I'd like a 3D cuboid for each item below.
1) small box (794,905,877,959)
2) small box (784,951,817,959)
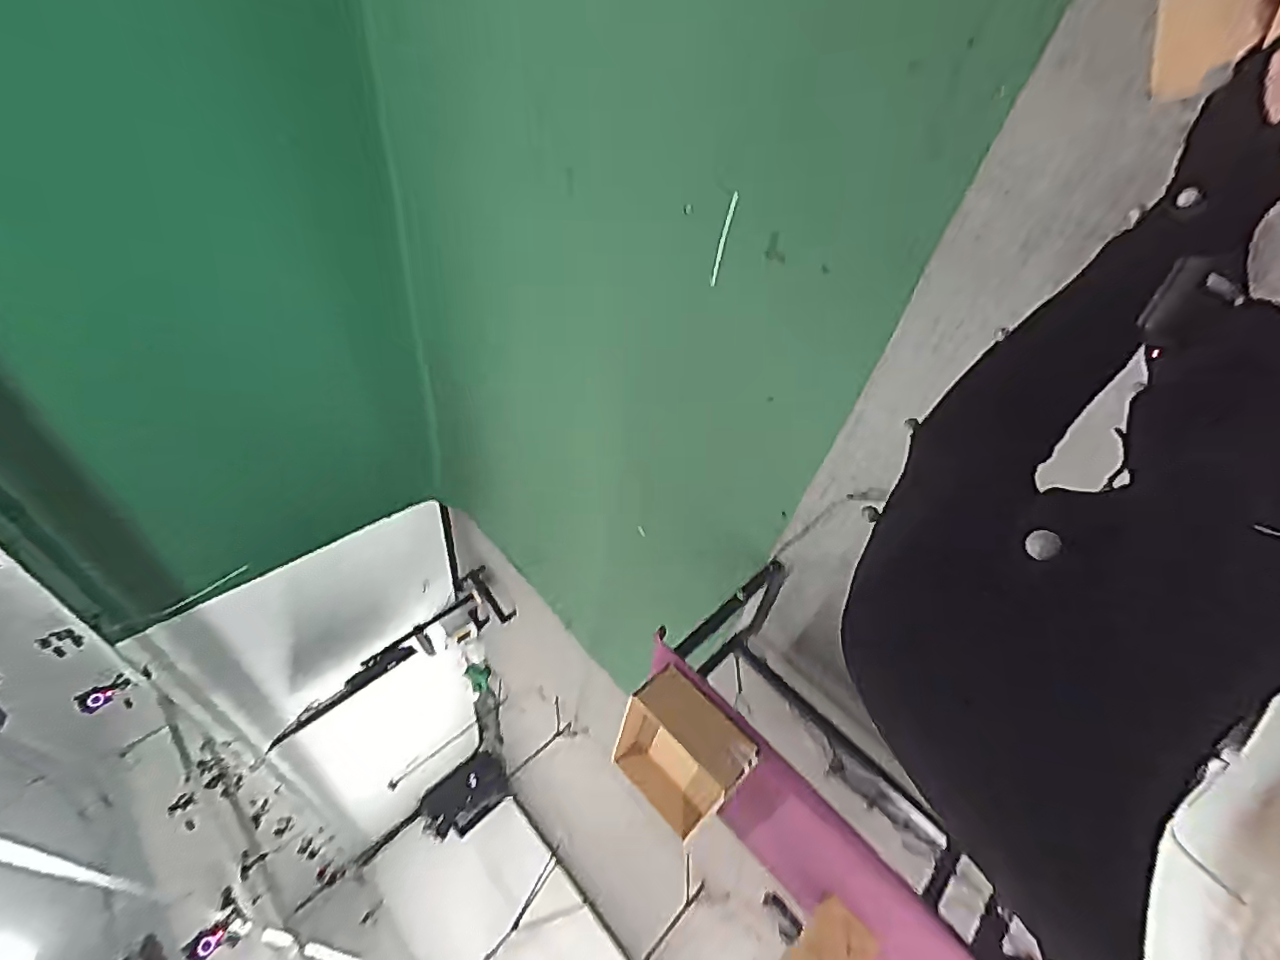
[{"bbox_3d":[0.599,1.458,1.662,0.168,0.176,0.179,38,140,28],"label":"small box"},{"bbox_3d":[0.477,1.523,1.573,0.168,0.176,0.179,42,141,24],"label":"small box"}]
